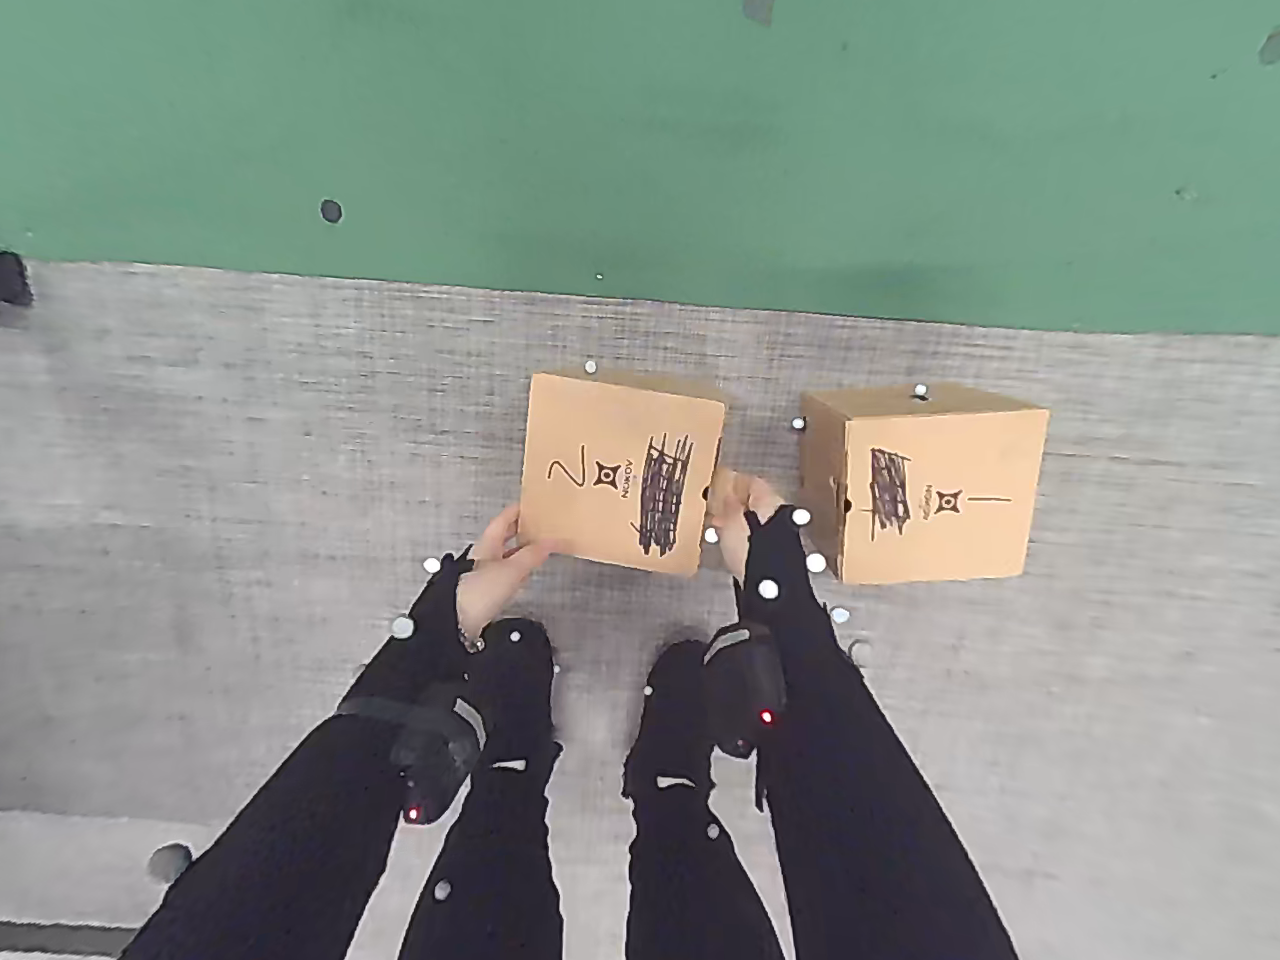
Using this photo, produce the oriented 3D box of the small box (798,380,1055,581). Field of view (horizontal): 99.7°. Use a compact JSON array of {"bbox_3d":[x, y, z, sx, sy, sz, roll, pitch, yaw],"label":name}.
[{"bbox_3d":[0.272,-0.009,0.563,0.179,0.176,0.168,-3,108,1],"label":"small box"}]
